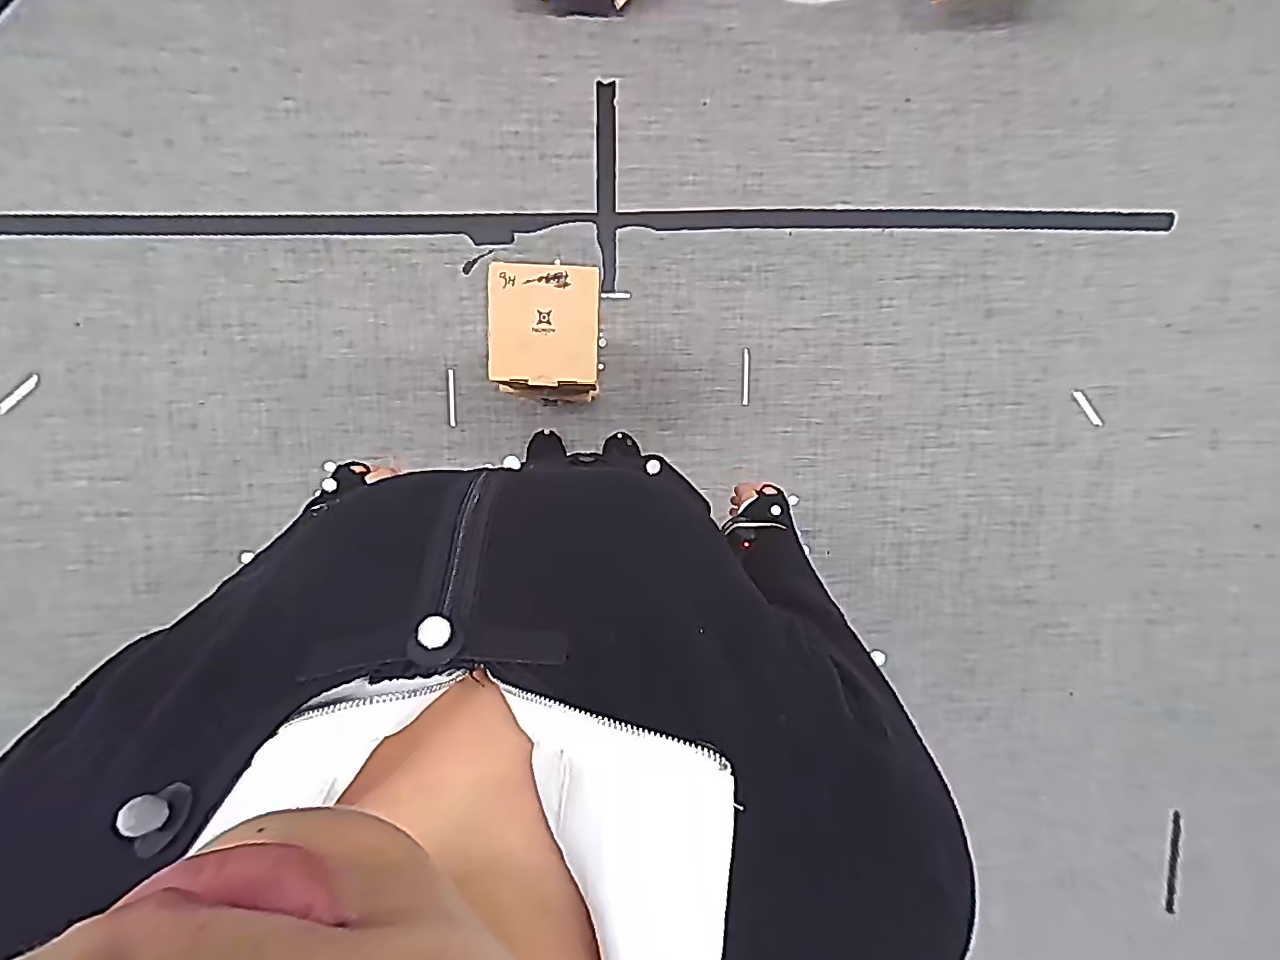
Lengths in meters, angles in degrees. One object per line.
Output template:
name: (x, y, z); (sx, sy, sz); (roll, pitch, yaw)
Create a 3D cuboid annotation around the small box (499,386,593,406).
small box: (-0.170, -0.240, 1.049); (0.168, 0.176, 0.179); (5, 97, -4)

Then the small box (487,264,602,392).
small box: (-0.149, -0.237, 0.885); (0.168, 0.176, 0.179); (2, 96, -4)
